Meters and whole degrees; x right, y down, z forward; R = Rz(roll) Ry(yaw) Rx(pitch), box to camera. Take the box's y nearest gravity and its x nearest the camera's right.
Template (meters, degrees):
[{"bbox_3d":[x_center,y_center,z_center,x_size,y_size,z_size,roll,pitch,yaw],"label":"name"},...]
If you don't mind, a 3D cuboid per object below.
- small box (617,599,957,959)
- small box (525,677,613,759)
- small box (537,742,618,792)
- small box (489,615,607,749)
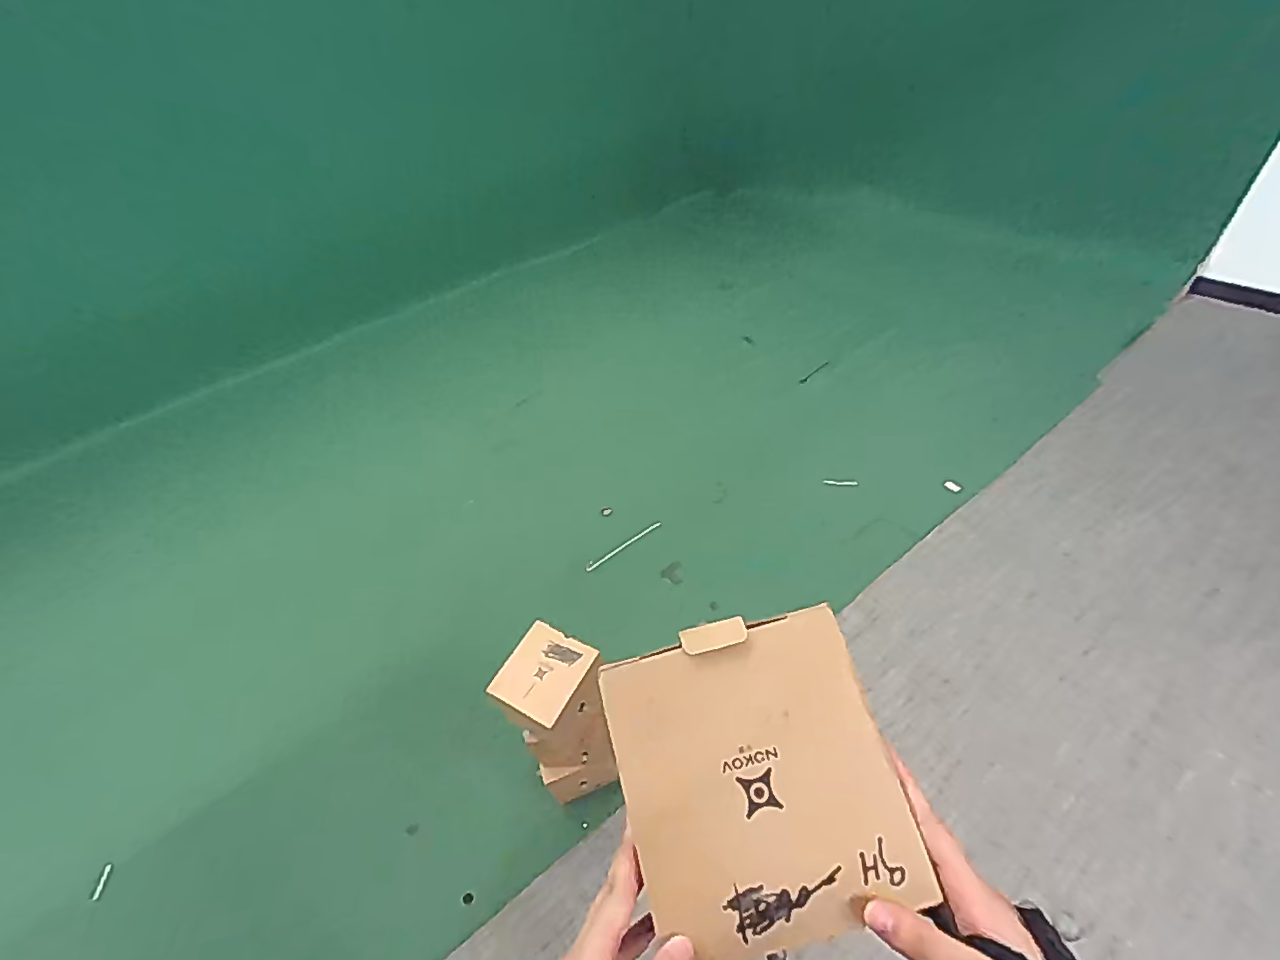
[{"bbox_3d":[0.085,0.204,0.406,0.168,0.176,0.179,-15,71,-2],"label":"small box"},{"bbox_3d":[-0.156,0.536,1.258,0.168,0.176,0.179,-4,45,4],"label":"small box"},{"bbox_3d":[-0.165,0.661,1.366,0.168,0.176,0.179,-19,46,-10],"label":"small box"},{"bbox_3d":[-0.182,0.426,1.138,0.168,0.176,0.179,19,53,24],"label":"small box"}]
